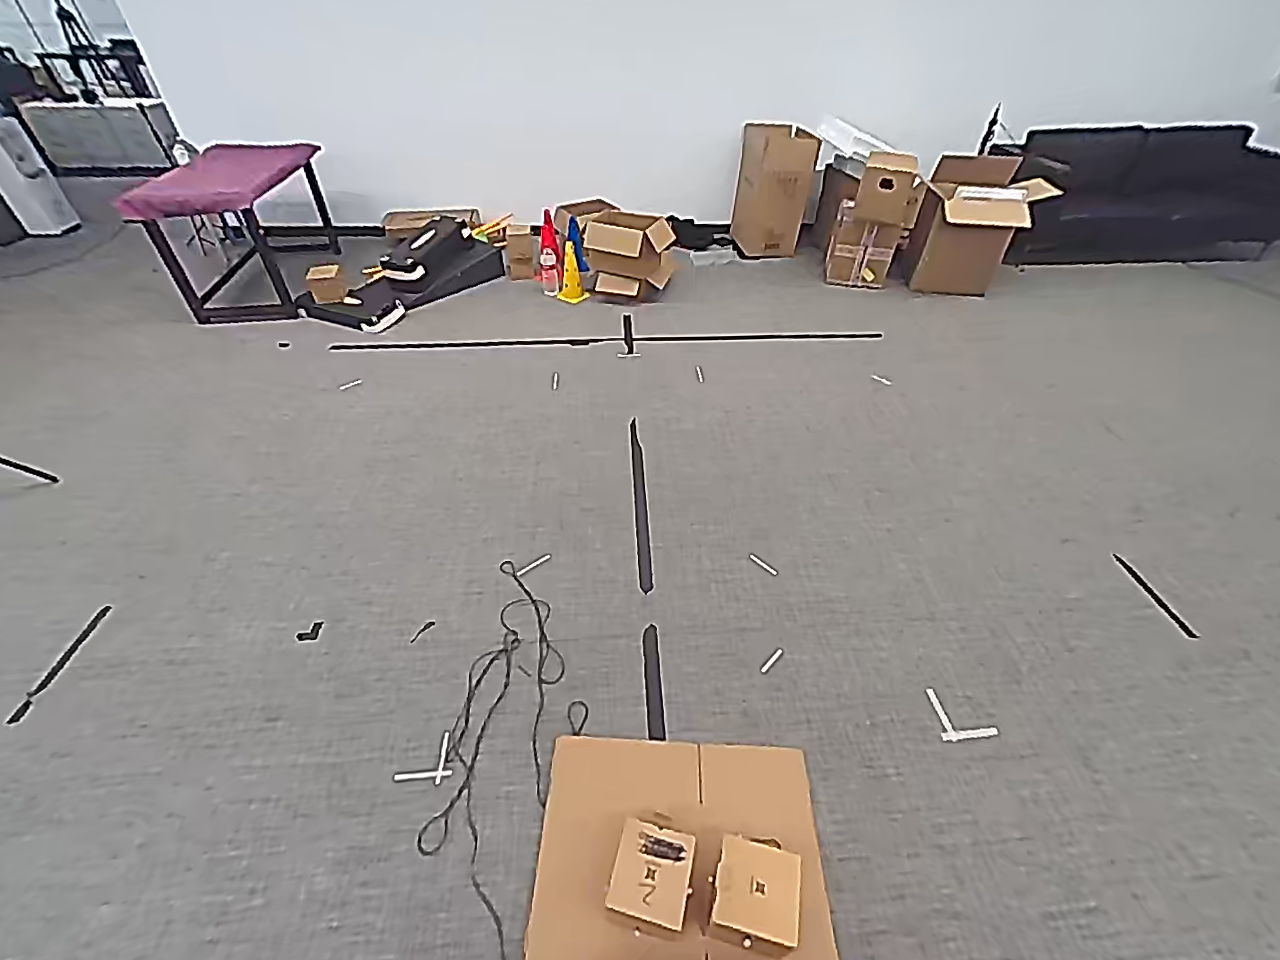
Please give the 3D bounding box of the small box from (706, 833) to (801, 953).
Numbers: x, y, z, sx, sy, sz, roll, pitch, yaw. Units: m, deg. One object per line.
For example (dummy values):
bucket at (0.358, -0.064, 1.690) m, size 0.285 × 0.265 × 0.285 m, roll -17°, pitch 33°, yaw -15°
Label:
small box at (0.255, 0.937, 1.225) m, size 0.179 × 0.176 × 0.168 m, roll 10°, pitch 43°, yaw 11°
